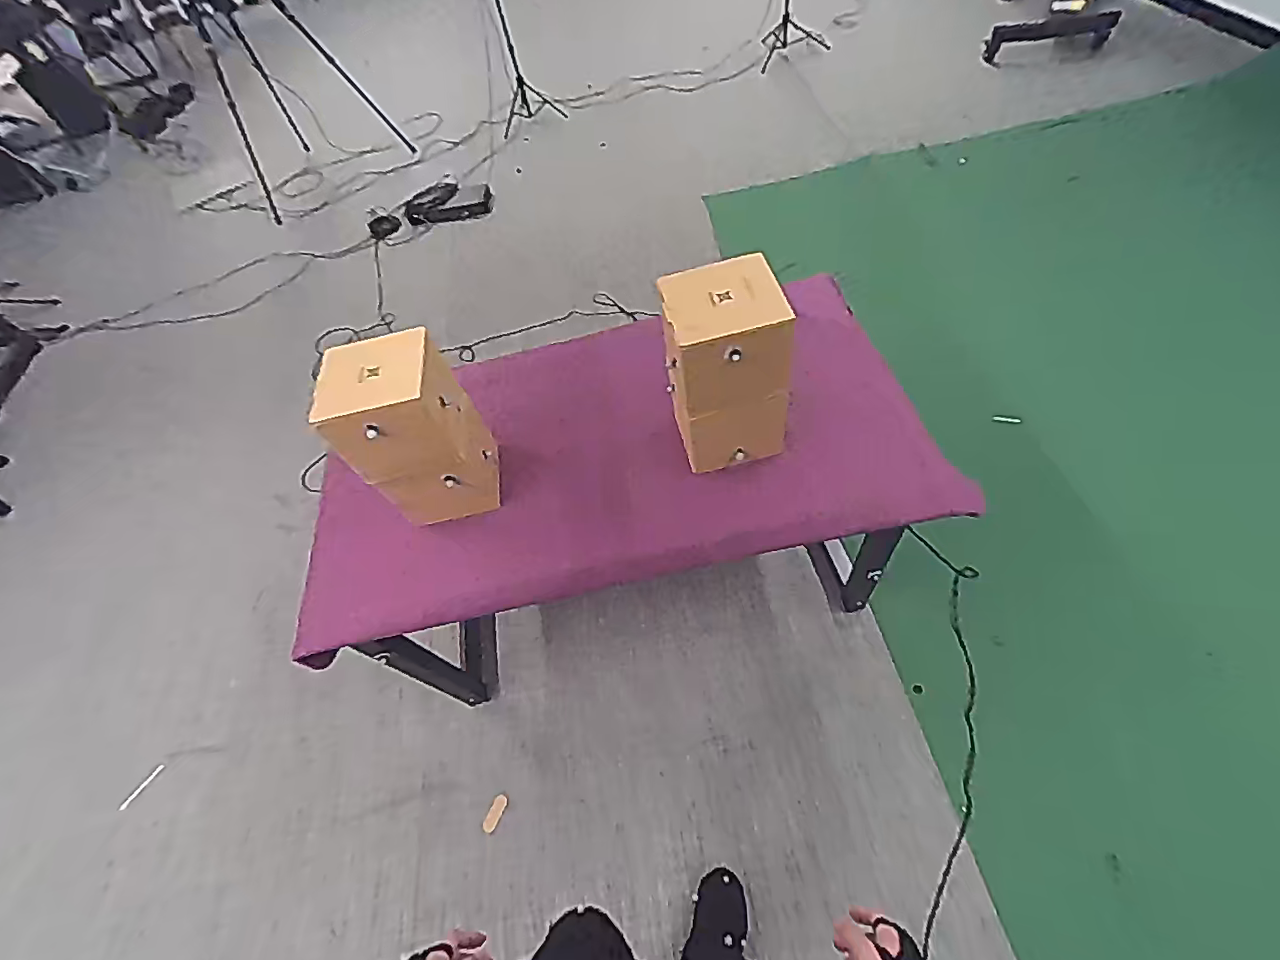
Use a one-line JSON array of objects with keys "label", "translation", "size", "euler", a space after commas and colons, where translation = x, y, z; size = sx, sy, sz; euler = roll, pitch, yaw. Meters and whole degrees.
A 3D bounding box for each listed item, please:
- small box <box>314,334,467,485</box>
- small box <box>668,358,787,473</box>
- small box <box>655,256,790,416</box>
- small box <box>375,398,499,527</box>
[{"label": "small box", "translation": [-0.408, -0.115, 0.920], "size": [0.179, 0.176, 0.168], "euler": [-14, 56, 2]}, {"label": "small box", "translation": [0.161, -0.137, 1.019], "size": [0.179, 0.176, 0.168], "euler": [-15, 55, 1]}, {"label": "small box", "translation": [0.134, -0.228, 0.885], "size": [0.179, 0.176, 0.168], "euler": [-14, 56, 2]}, {"label": "small box", "translation": [-0.382, -0.029, 1.055], "size": [0.179, 0.176, 0.168], "euler": [-13, 55, 2]}]
